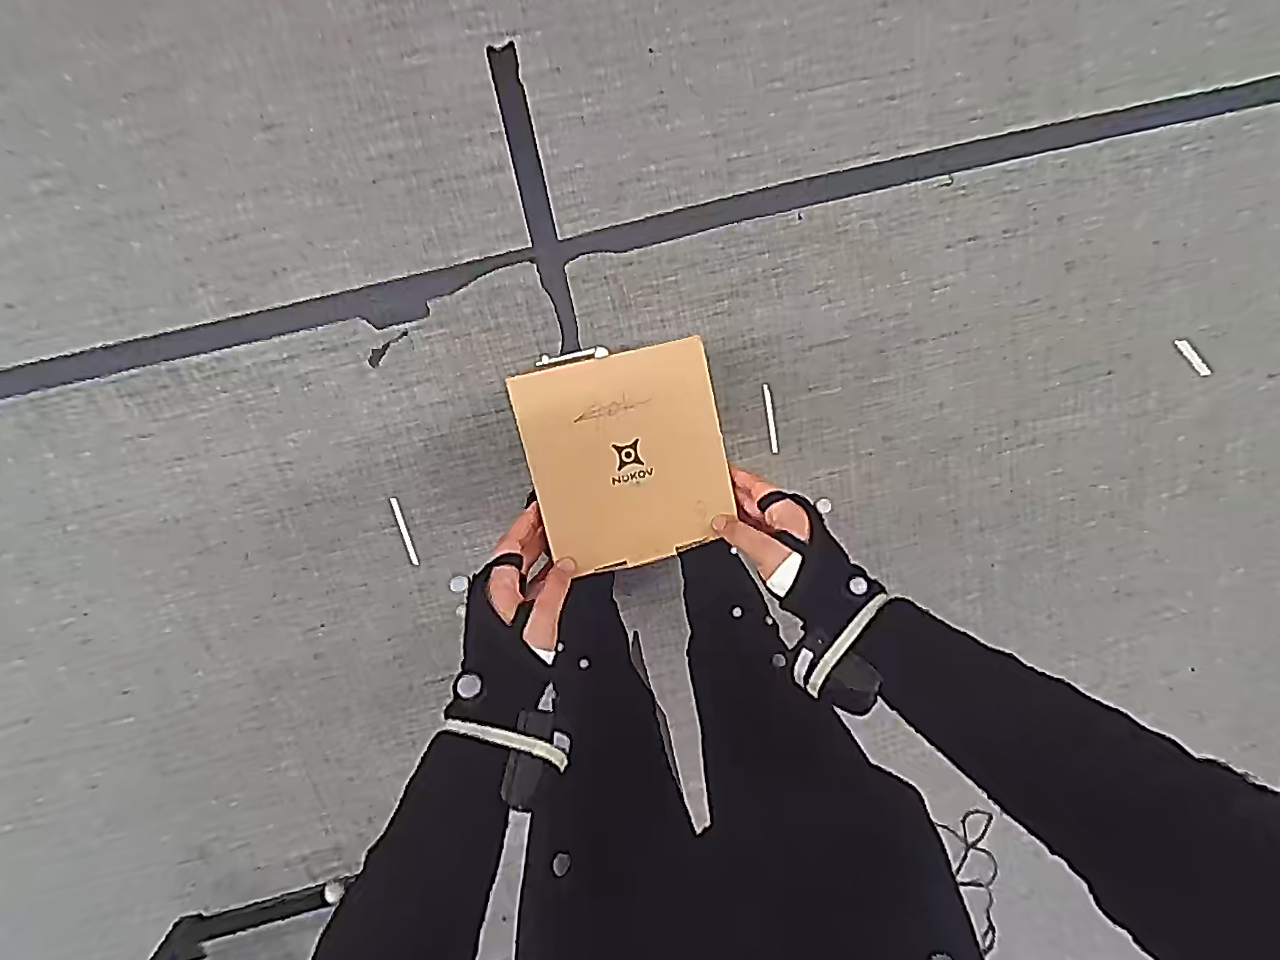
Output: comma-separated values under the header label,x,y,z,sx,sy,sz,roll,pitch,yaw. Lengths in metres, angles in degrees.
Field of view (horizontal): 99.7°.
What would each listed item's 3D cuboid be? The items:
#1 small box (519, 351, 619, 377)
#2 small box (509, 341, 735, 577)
label,x,y,z,sx,sy,sz,roll,pitch,yaw
small box,-0.115,-0.143,1.014,0.179,0.176,0.168,-13,107,-4
small box,-0.023,-0.028,0.537,0.168,0.176,0.179,-14,99,-8
